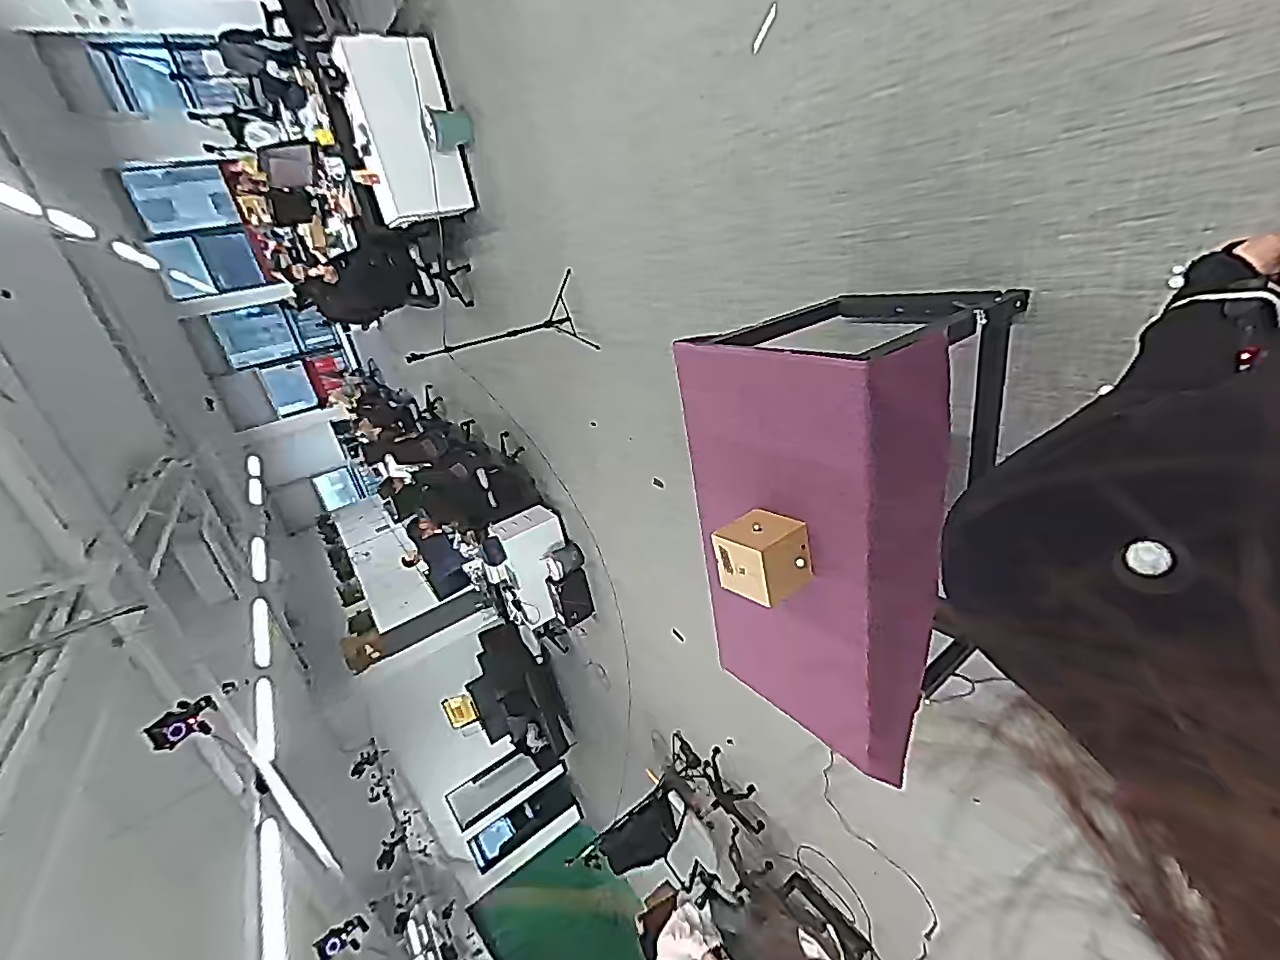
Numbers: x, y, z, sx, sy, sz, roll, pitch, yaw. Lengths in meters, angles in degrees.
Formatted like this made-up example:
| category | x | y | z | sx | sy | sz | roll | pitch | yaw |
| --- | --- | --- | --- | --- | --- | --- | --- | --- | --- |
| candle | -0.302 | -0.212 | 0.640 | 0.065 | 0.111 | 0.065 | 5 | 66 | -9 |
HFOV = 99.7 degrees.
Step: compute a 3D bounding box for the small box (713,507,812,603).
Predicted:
| category | x | y | z | sx | sy | sz | roll | pitch | yaw |
| --- | --- | --- | --- | --- | --- | --- | --- | --- | --- |
| small box | 0.320 | 0.186 | 1.410 | 0.179 | 0.176 | 0.168 | 16 | 126 | 54 |
